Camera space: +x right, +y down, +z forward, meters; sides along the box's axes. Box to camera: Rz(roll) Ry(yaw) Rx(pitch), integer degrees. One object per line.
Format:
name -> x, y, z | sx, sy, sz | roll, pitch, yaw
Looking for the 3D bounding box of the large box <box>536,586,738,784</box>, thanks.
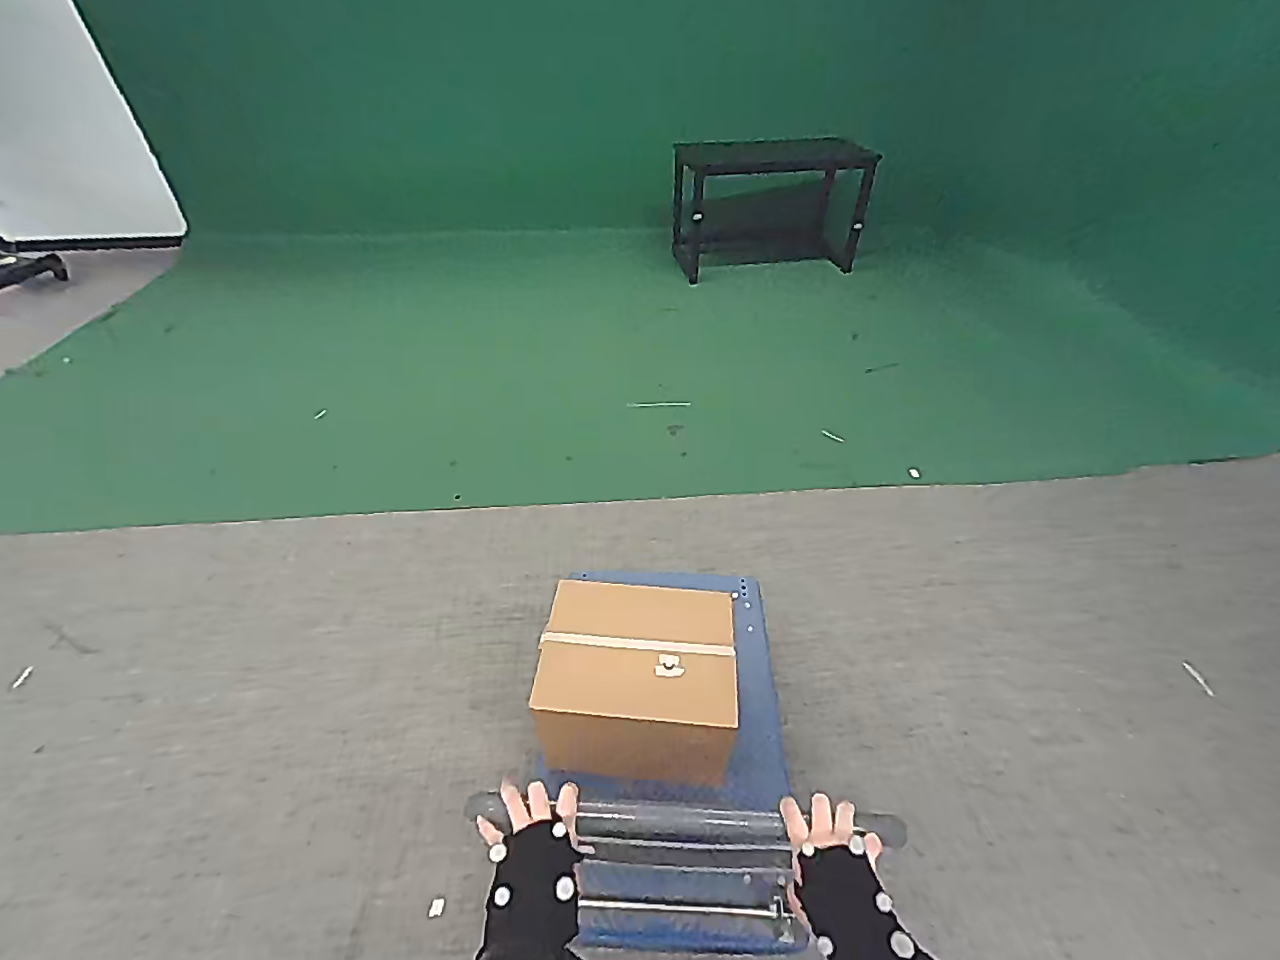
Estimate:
large box -> -0.003, 0.475, 1.259 | 0.408, 0.320, 0.320 | 4, 42, 3
